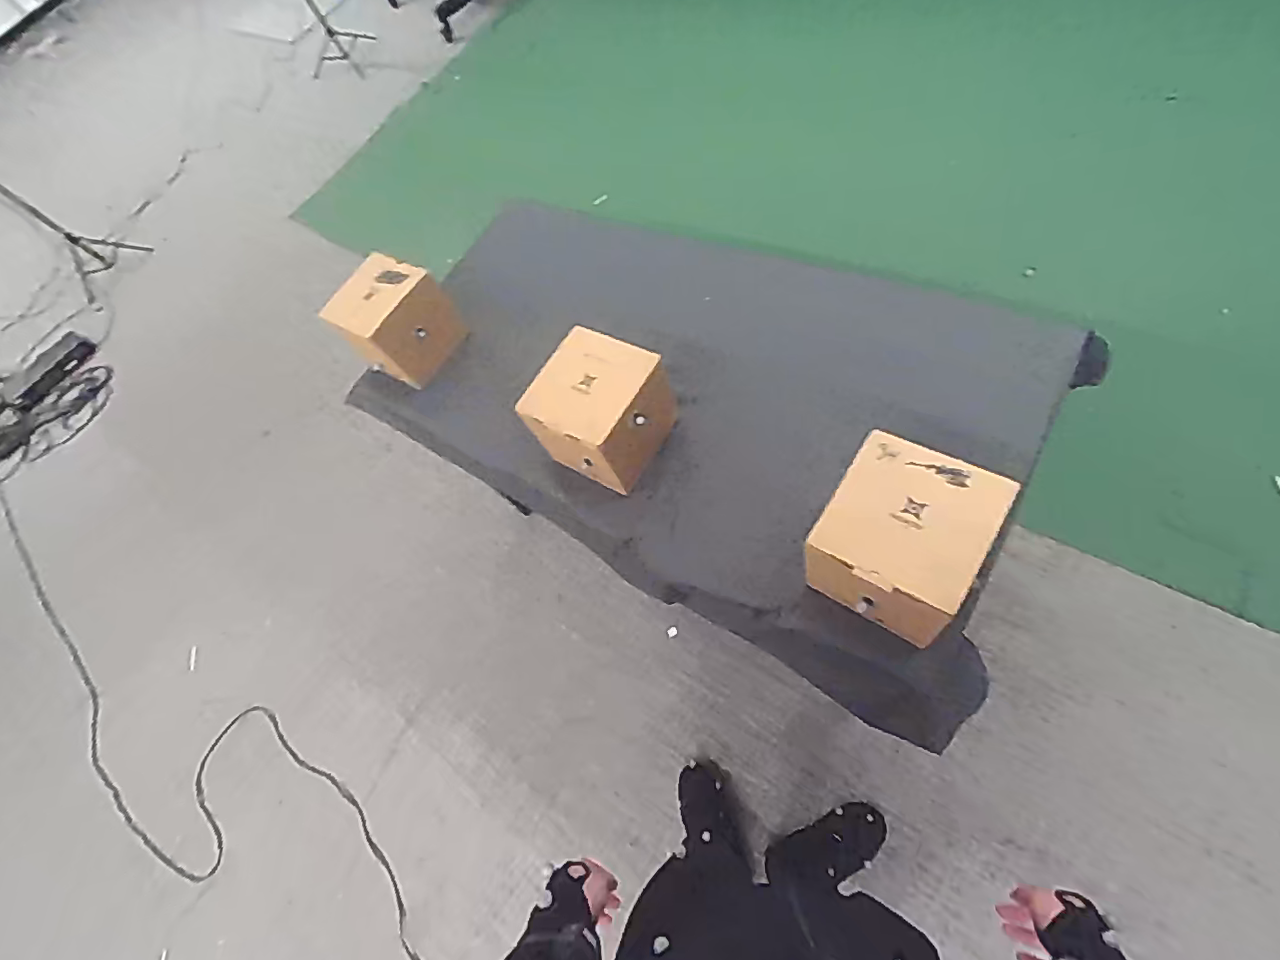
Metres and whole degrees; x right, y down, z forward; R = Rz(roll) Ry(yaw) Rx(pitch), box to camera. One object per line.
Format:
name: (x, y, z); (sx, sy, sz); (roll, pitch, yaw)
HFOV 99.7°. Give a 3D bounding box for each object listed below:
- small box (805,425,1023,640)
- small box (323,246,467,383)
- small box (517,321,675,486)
small box: (0.322, 0.071, 0.662); (0.168, 0.176, 0.179); (29, 75, 29)
small box: (-0.481, -0.330, 1.094); (0.168, 0.176, 0.179); (27, 74, 25)
small box: (-0.058, -0.117, 0.872); (0.168, 0.176, 0.179); (26, 72, 24)
